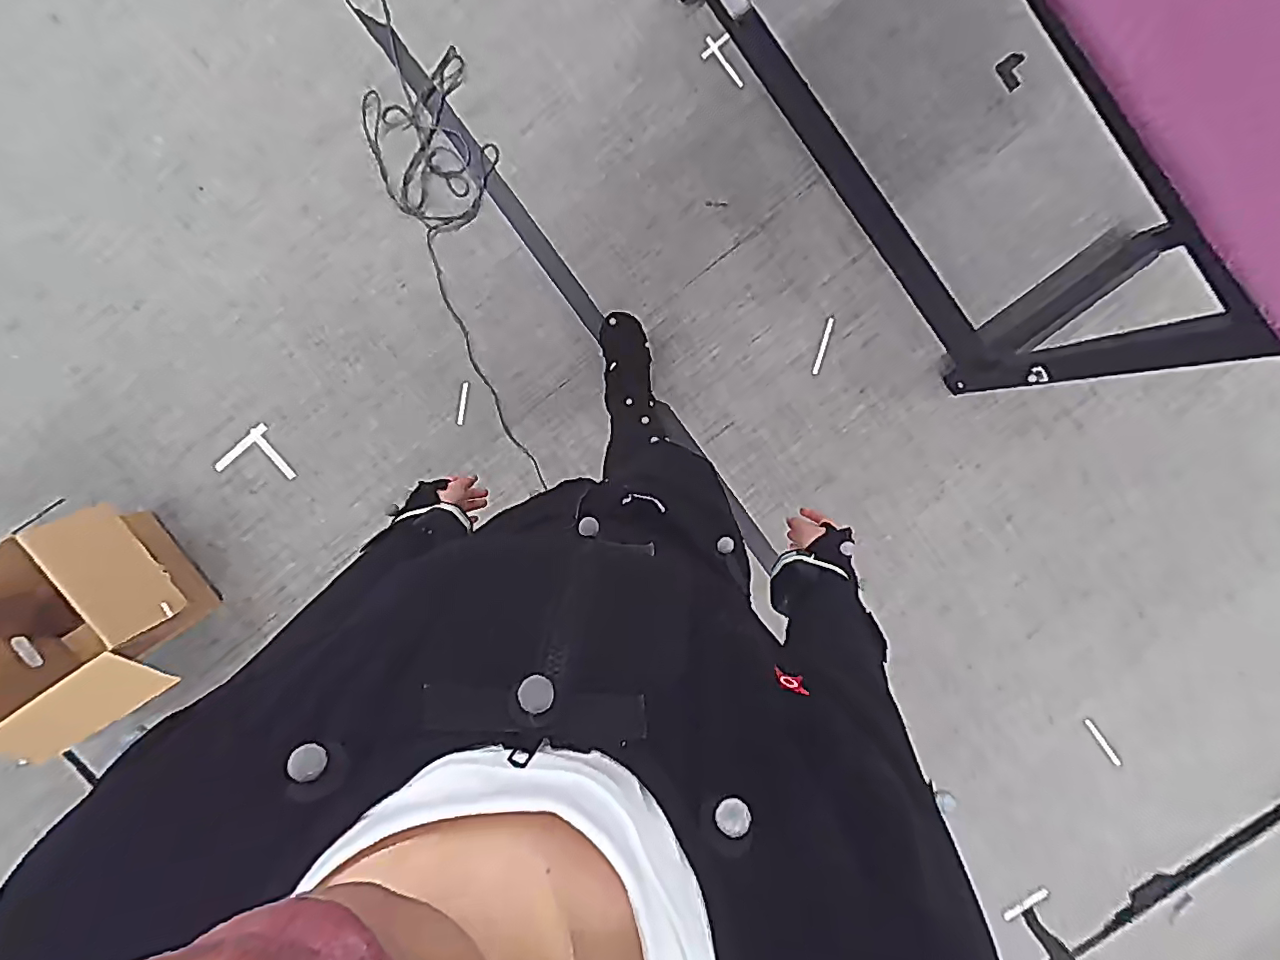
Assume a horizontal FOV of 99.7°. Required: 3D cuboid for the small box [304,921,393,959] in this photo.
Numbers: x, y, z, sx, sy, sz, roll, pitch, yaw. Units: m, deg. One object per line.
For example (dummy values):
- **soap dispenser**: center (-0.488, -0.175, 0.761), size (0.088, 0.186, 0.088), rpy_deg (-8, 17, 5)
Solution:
- **small box**: center (-0.704, 1.175, 1.230), size (0.179, 0.176, 0.168), rpy_deg (-39, 94, 3)
